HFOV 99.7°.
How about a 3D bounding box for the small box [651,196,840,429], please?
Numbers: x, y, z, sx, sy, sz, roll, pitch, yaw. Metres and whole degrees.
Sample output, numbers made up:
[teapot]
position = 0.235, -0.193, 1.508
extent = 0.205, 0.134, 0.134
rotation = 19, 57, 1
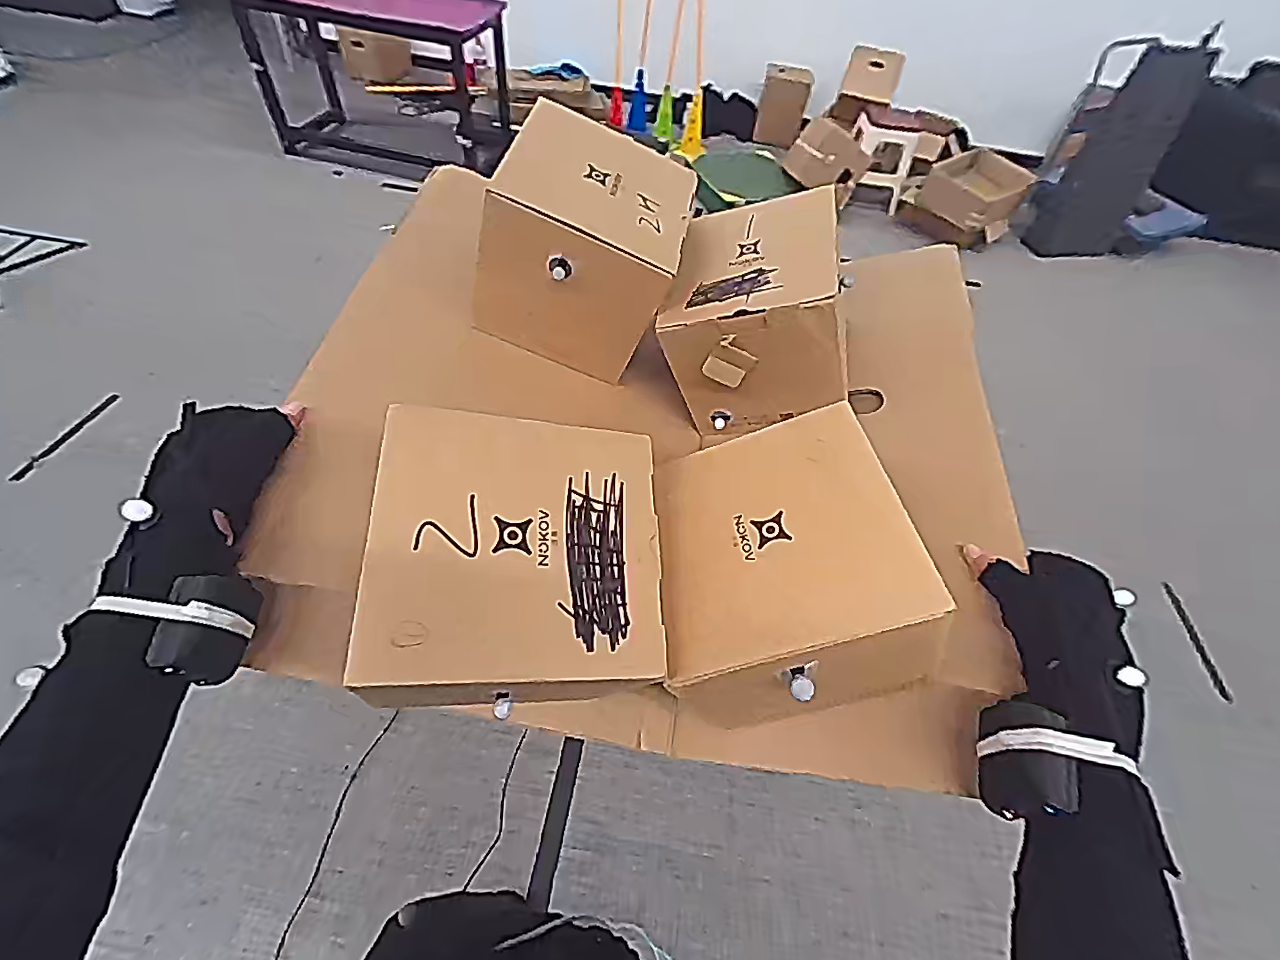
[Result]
[small box]
position = 0.127, -0.169, 0.596
extent = 0.168, 0.176, 0.179
rotation = -3, 55, 23
